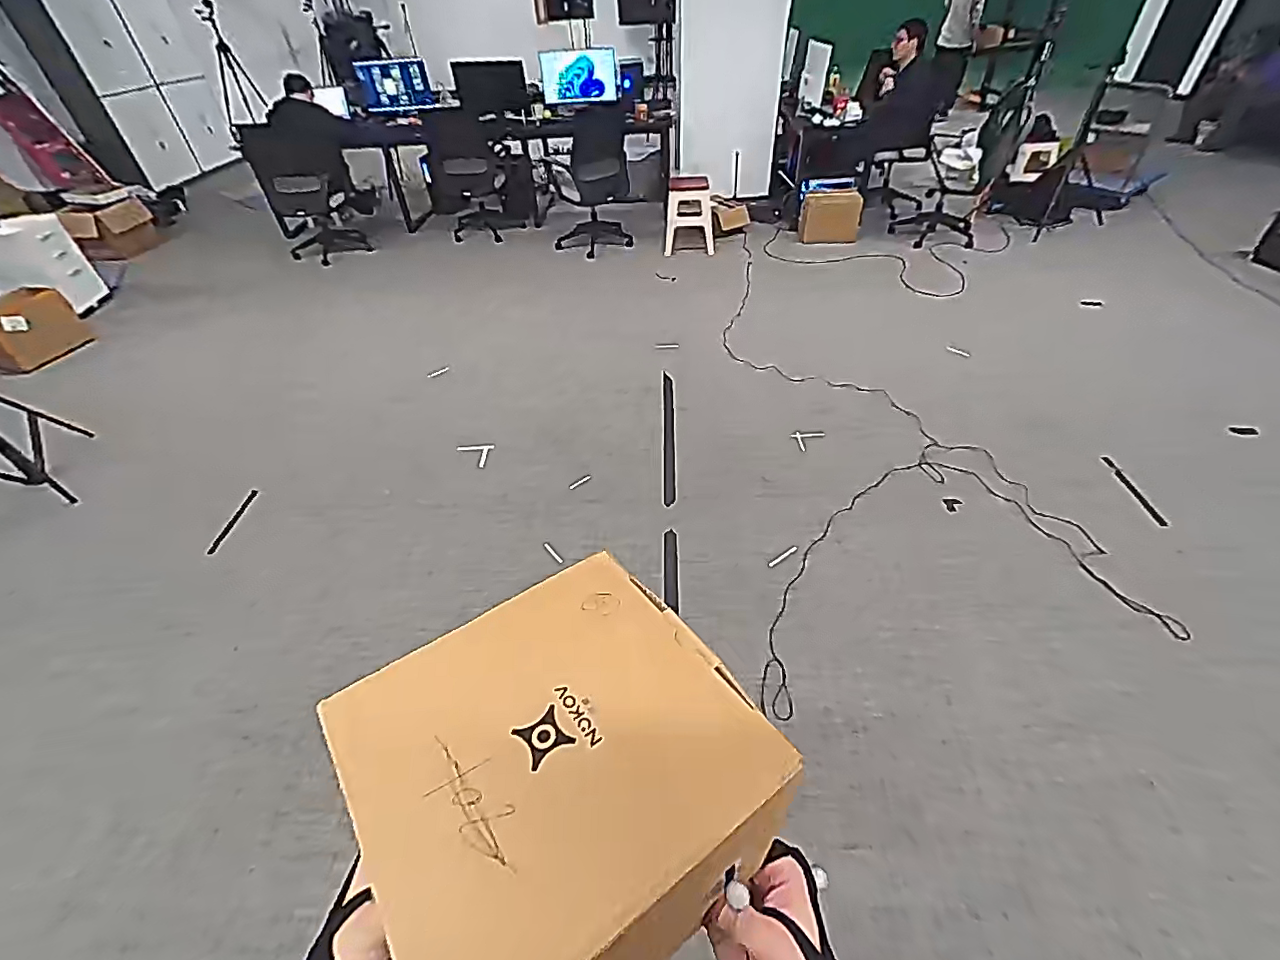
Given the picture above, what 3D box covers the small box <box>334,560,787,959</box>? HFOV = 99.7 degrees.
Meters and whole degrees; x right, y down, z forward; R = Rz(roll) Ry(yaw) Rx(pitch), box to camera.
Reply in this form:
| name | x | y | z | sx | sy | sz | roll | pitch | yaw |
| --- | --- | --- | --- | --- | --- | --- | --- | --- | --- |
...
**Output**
| name | x | y | z | sx | sy | sz | roll | pitch | yaw |
| --- | --- | --- | --- | --- | --- | --- | --- | --- | --- |
| small box | -0.044 | 0.188 | 0.322 | 0.179 | 0.176 | 0.168 | -26 | 45 | -27 |
